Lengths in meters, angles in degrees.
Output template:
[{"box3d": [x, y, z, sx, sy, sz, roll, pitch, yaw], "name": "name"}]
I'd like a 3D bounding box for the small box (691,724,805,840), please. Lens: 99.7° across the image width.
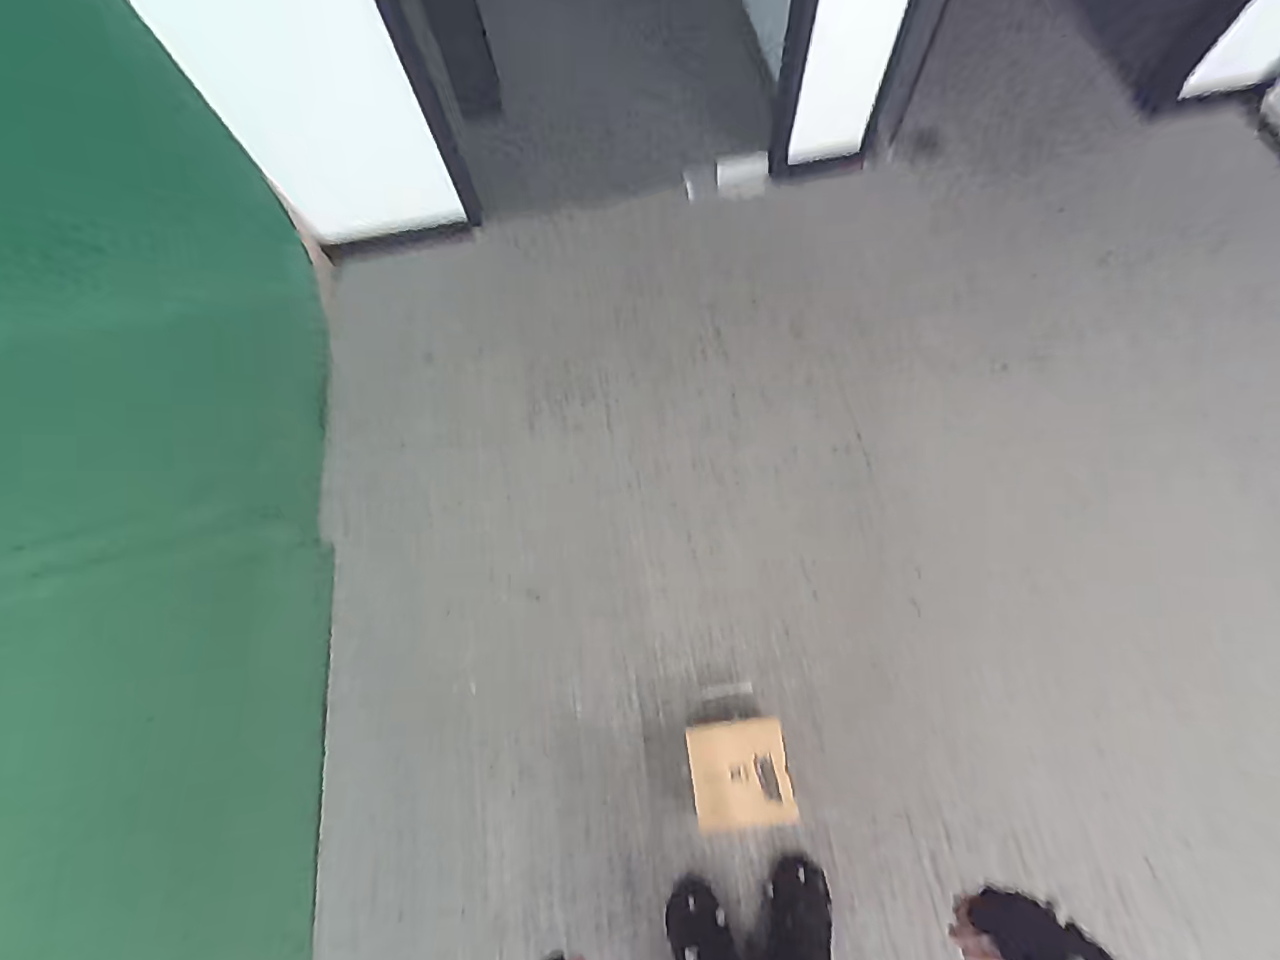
[{"box3d": [0.195, 0.566, 1.032, 0.179, 0.176, 0.168, -8, 66, 2], "name": "small box"}]
